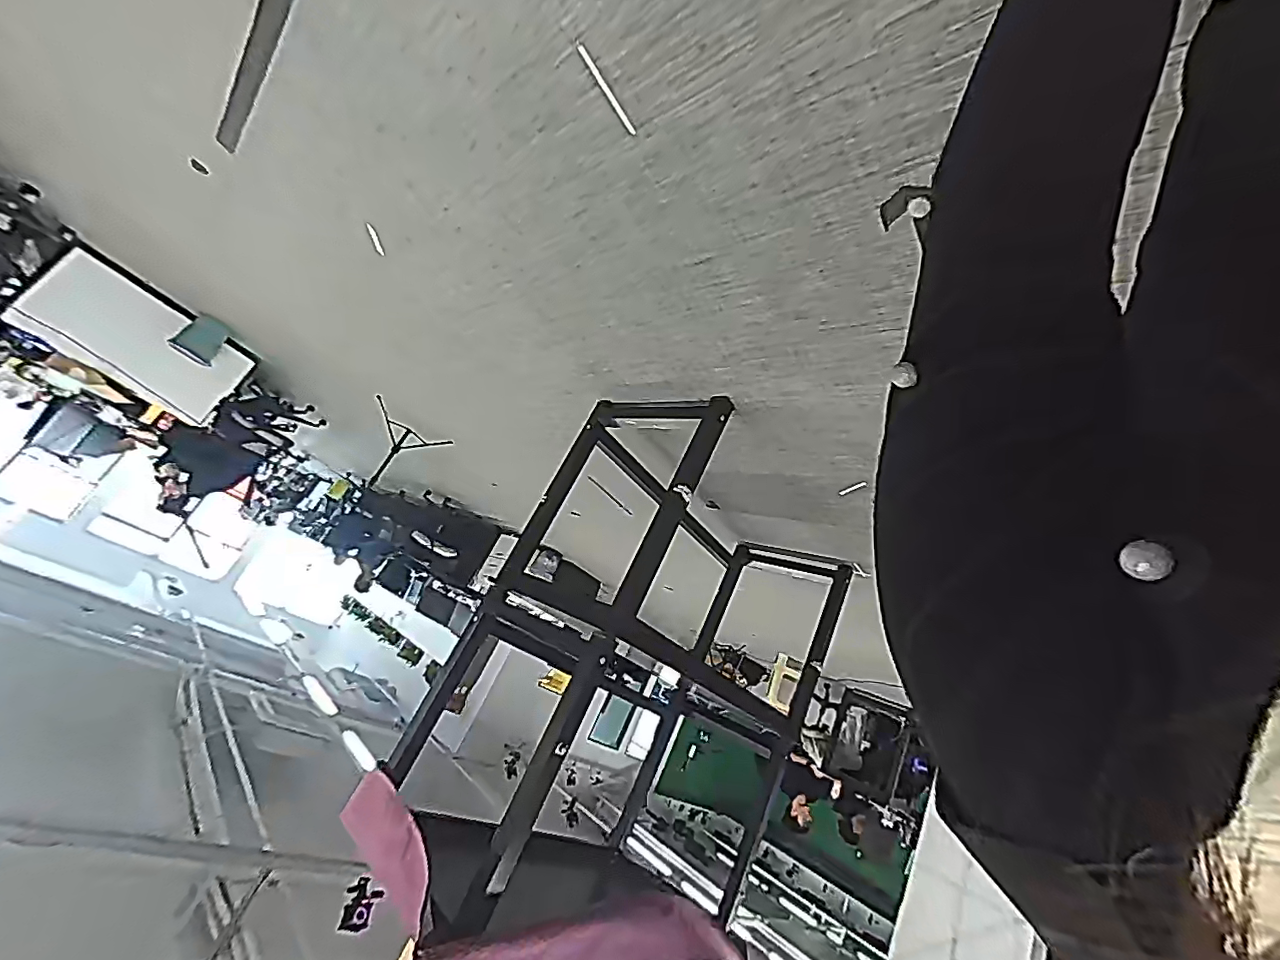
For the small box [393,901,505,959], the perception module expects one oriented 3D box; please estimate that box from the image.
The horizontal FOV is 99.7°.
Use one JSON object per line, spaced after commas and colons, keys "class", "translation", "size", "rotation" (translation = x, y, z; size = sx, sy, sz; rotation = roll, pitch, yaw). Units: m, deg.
{"class": "small box", "translation": [-0.455, 1.139, 1.283], "size": [0.179, 0.176, 0.168], "rotation": [10, 155, 42]}
